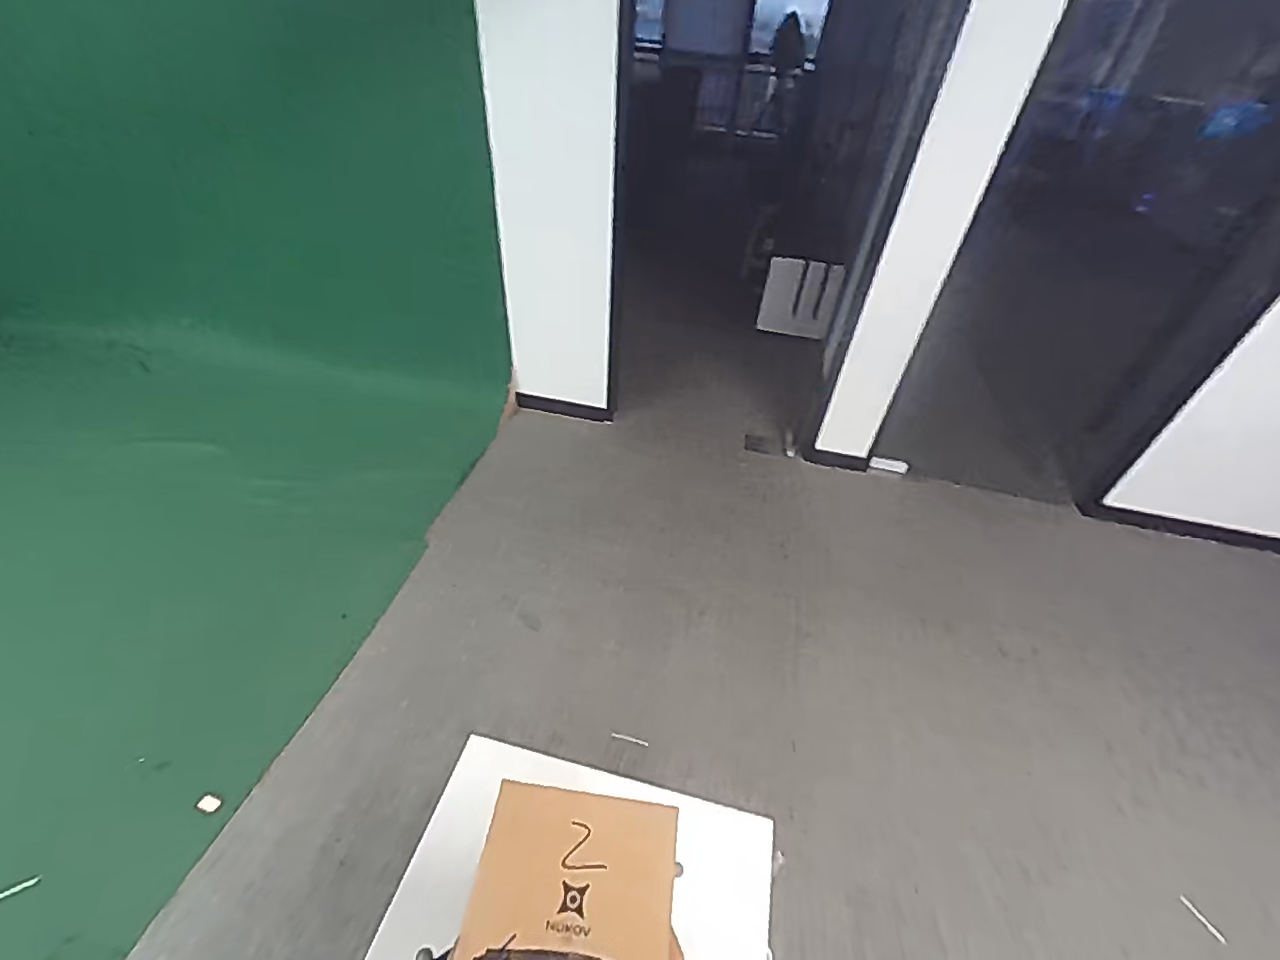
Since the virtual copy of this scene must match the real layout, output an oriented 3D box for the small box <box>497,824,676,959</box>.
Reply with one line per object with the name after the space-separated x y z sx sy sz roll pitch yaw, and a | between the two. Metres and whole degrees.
-0.065 0.554 0.637 0.168 0.176 0.179 14 41 10 | small box
